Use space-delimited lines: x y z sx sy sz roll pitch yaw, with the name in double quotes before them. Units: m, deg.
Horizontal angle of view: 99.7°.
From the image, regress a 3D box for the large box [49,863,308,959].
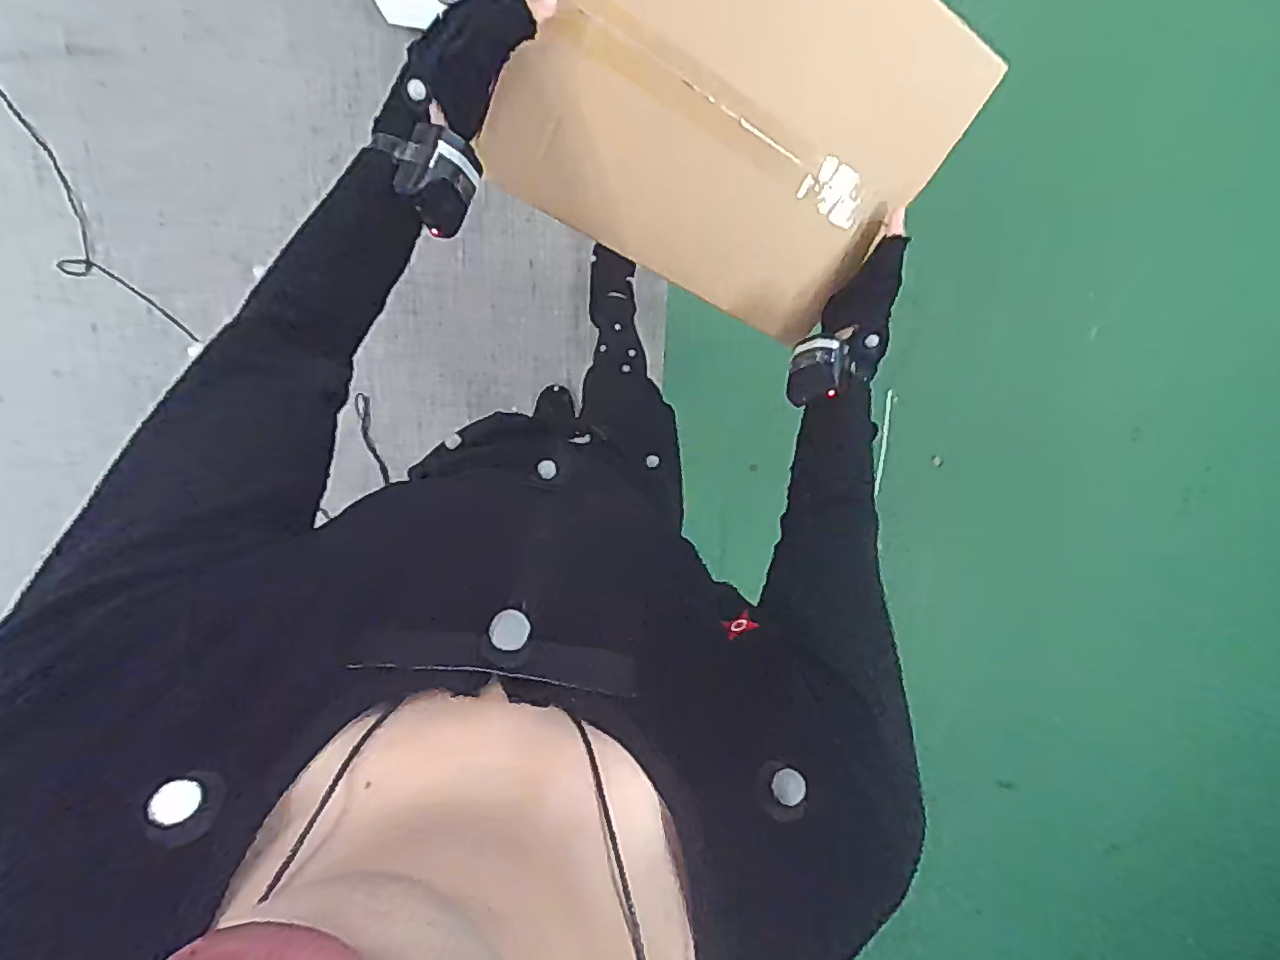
"large box" -1.026 1.123 1.203 0.408 0.320 0.320 2 98 -7
